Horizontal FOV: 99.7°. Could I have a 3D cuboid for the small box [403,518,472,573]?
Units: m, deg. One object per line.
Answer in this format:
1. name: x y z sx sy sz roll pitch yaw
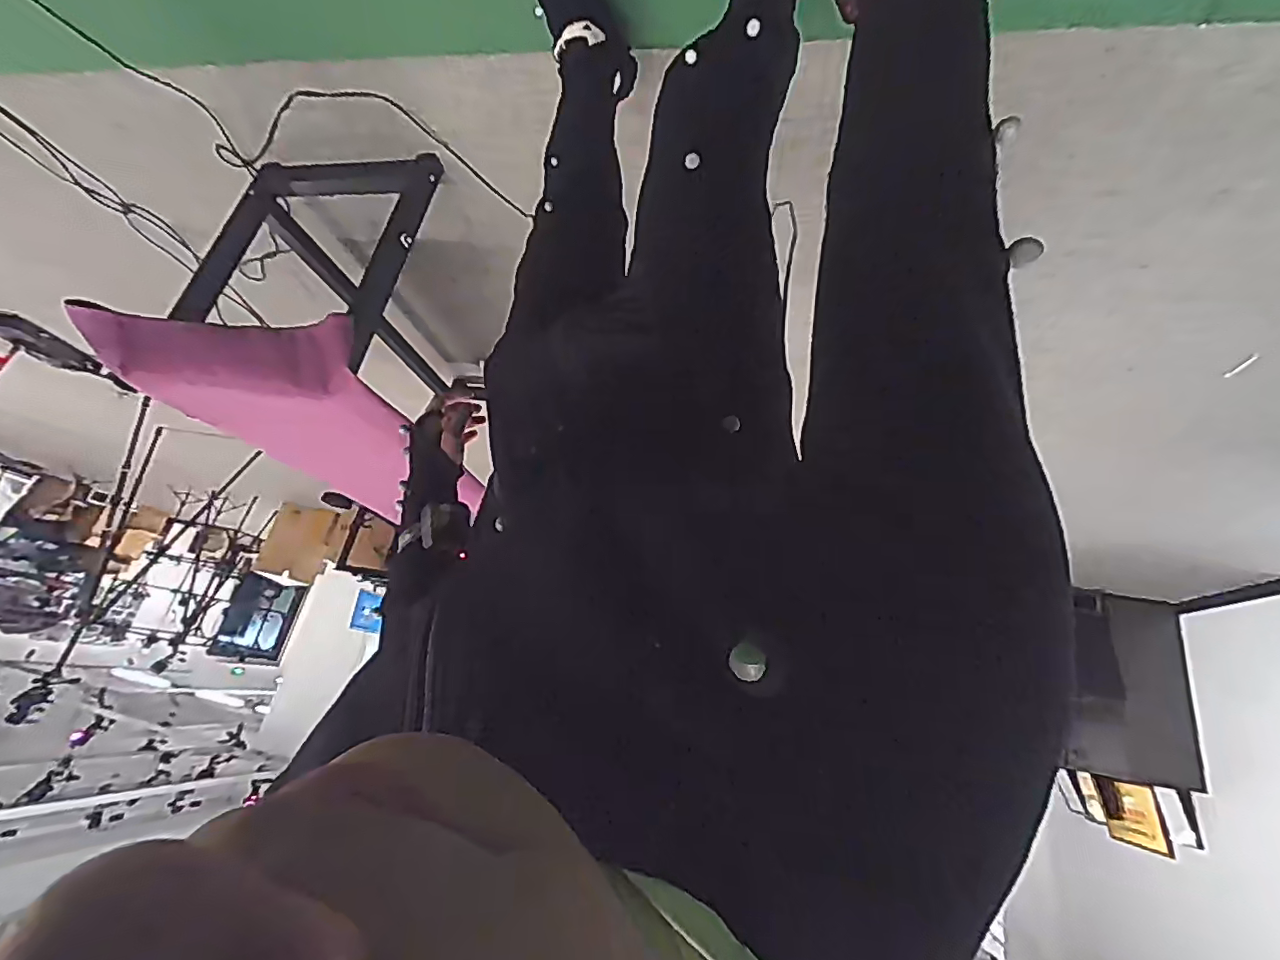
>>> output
1. small box: -0.784 0.254 2.107 0.168 0.176 0.179 7 160 12
